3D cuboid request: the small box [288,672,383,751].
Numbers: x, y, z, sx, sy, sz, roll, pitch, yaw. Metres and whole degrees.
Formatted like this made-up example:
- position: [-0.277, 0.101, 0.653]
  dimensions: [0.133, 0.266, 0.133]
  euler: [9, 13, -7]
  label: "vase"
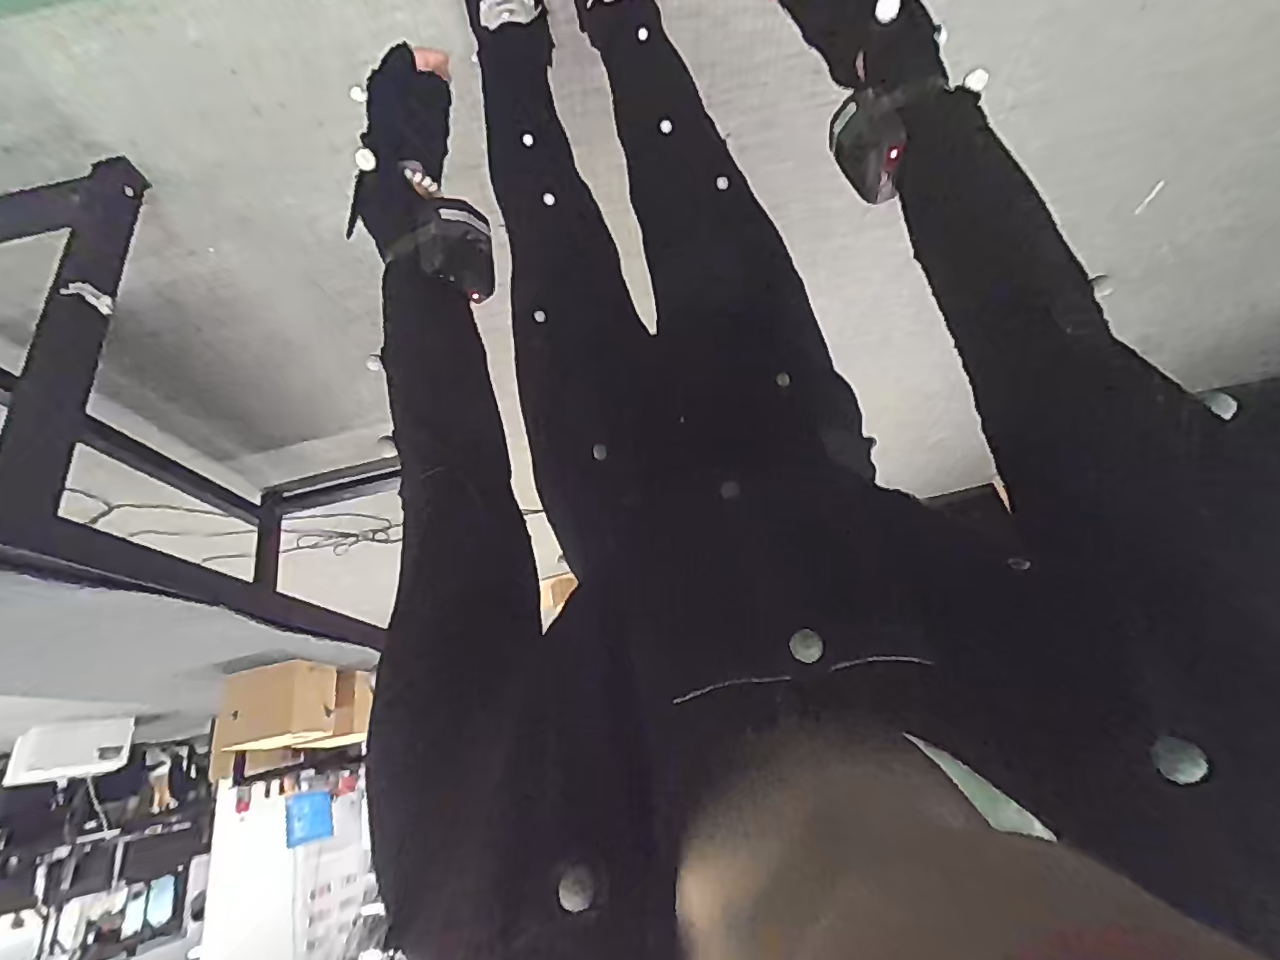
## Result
- position: [-0.844, 0.653, 1.519]
  dimensions: [0.179, 0.176, 0.168]
  euler: [-13, 153, 1]
  label: "small box"
